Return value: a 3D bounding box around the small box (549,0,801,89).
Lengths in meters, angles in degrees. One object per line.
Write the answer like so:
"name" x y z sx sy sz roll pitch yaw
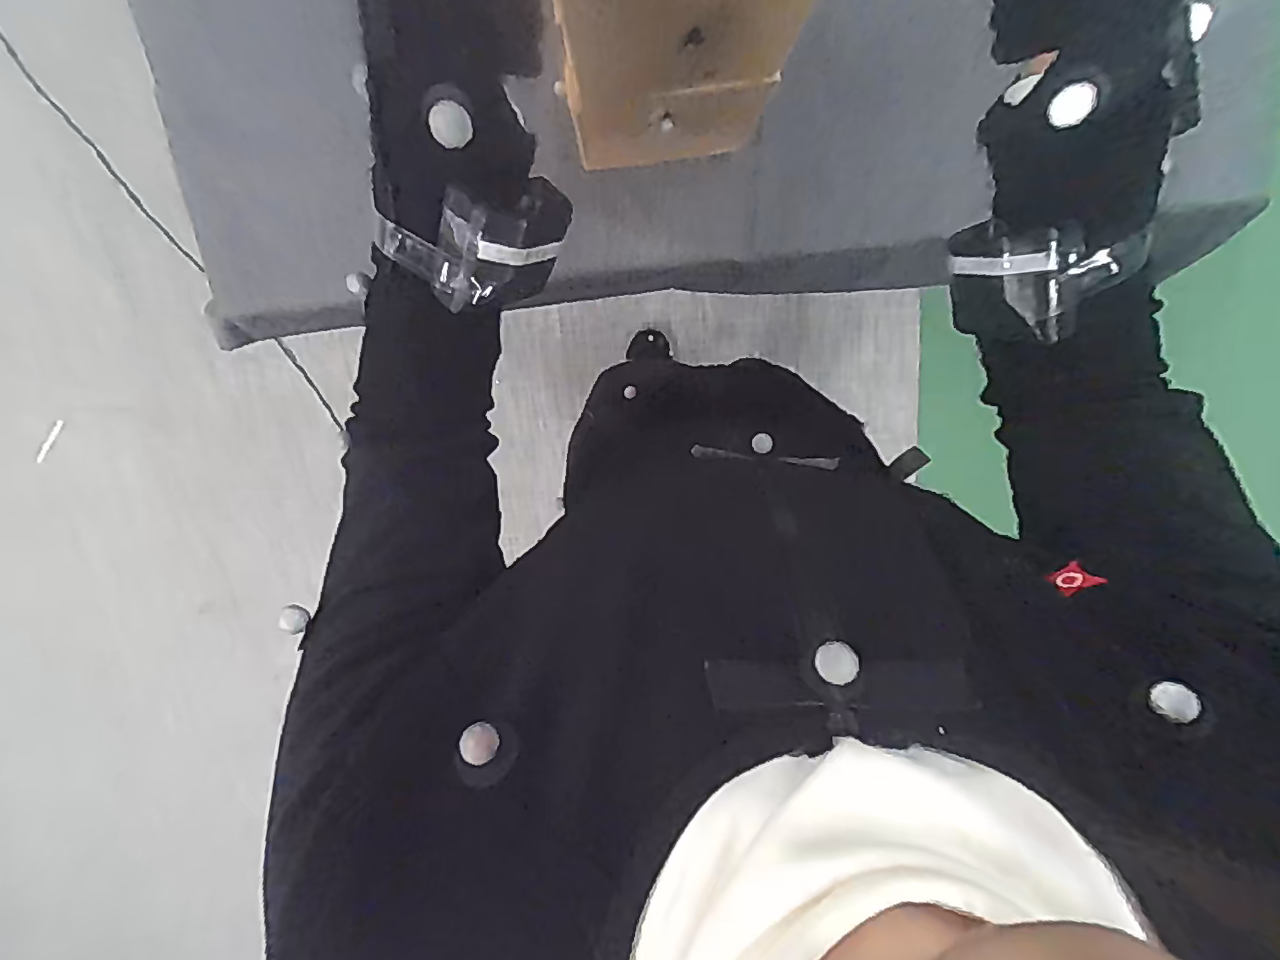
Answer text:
"small box" 0.018 -0.378 0.338 0.168 0.176 0.179 -9 105 1

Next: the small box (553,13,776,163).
"small box" 0.014 -0.413 0.497 0.179 0.176 0.168 -7 105 0
